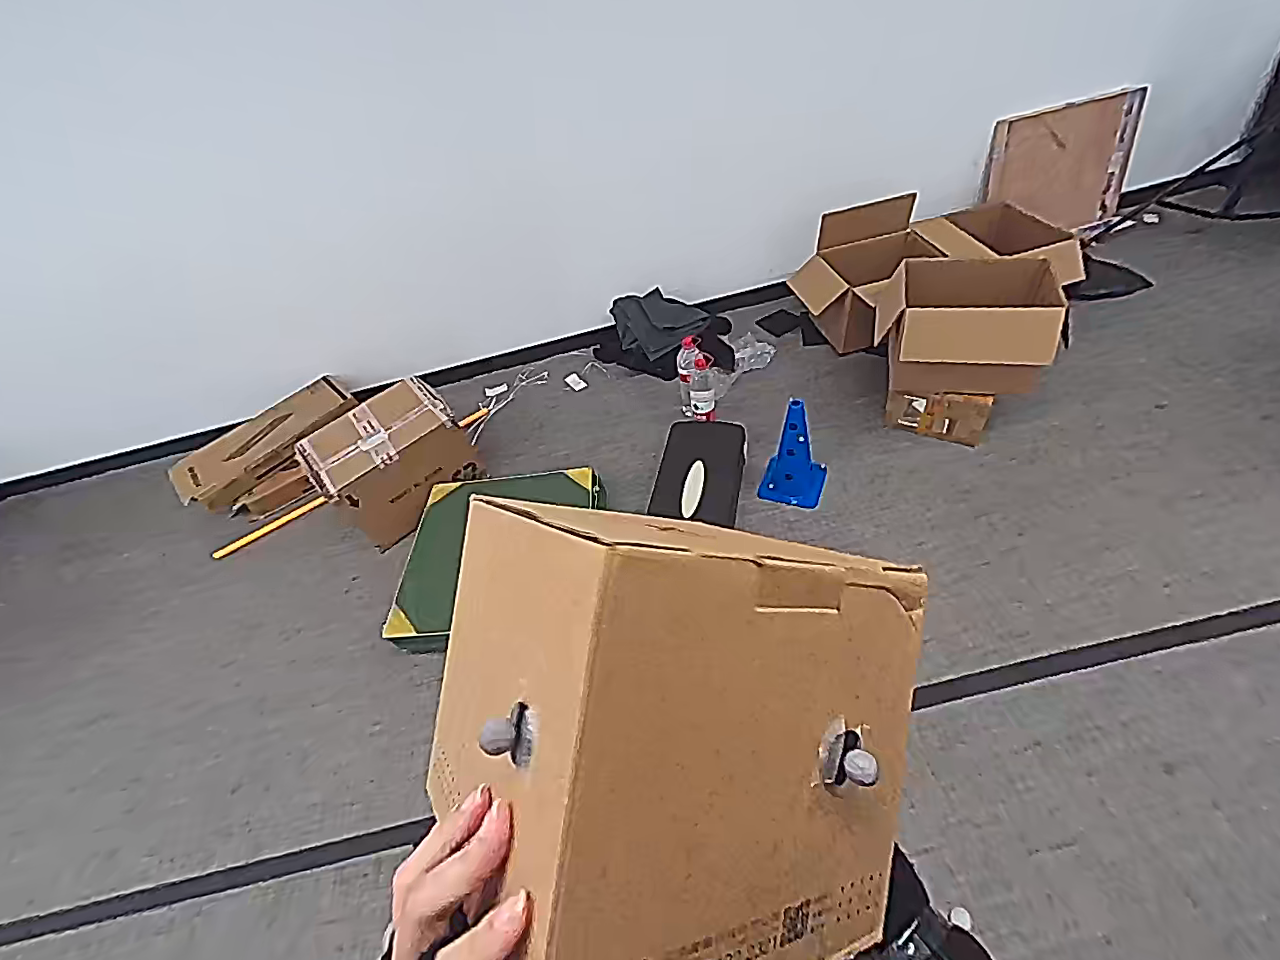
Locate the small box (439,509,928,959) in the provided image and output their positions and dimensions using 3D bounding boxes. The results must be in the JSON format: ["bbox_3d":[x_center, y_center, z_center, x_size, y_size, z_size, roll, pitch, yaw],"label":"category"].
[{"bbox_3d":[0.008,0.115,0.275,0.179,0.168,0.176,6,86,59],"label":"small box"}]
